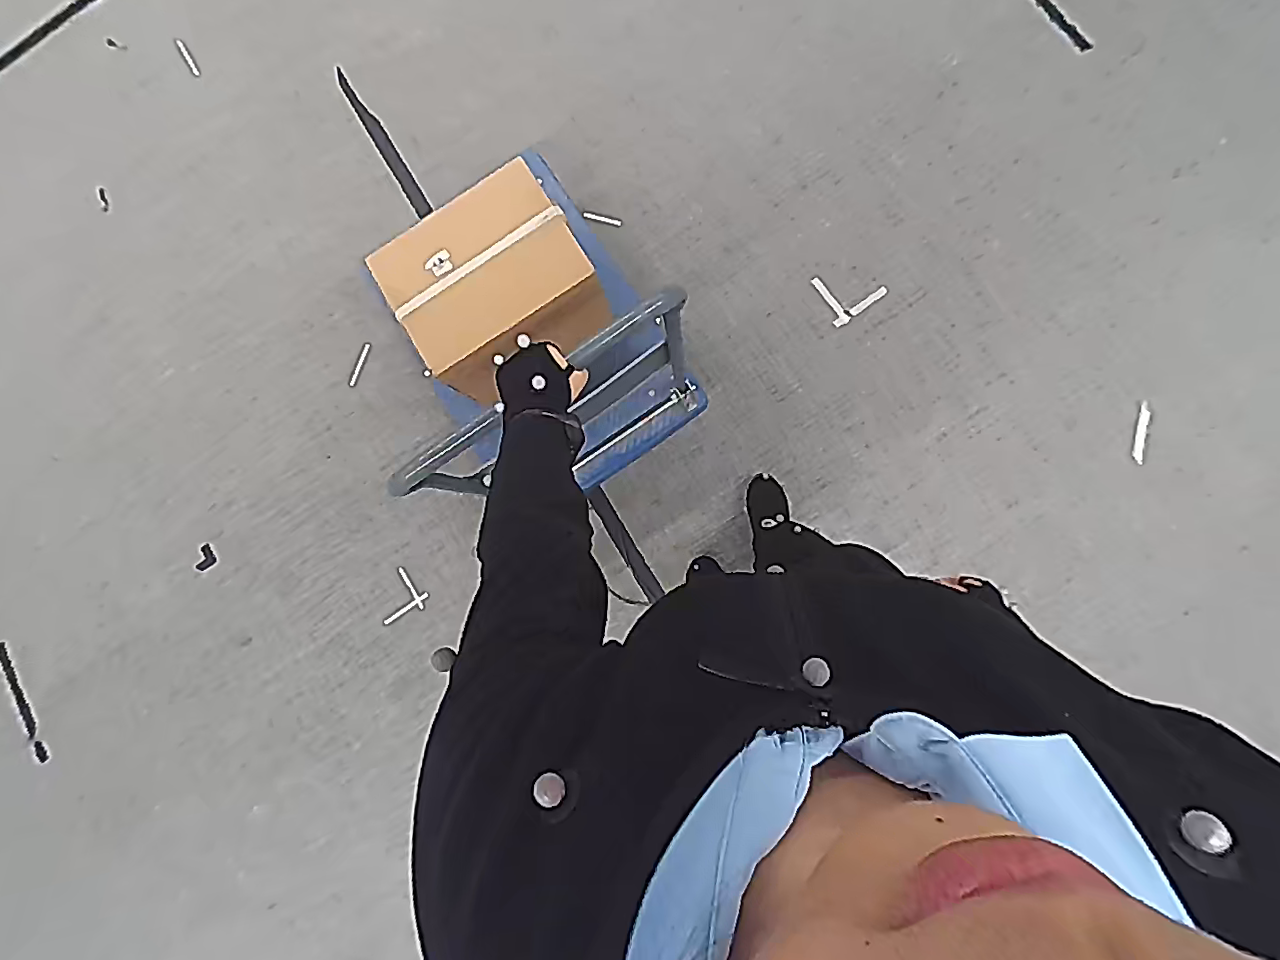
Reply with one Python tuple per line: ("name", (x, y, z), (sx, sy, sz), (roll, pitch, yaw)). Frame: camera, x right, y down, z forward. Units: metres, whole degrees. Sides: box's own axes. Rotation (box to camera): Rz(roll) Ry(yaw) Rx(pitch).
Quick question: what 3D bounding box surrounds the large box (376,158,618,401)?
("large box", (-0.314, -0.446, 1.292), (0.408, 0.320, 0.320), (-33, 82, 4))
